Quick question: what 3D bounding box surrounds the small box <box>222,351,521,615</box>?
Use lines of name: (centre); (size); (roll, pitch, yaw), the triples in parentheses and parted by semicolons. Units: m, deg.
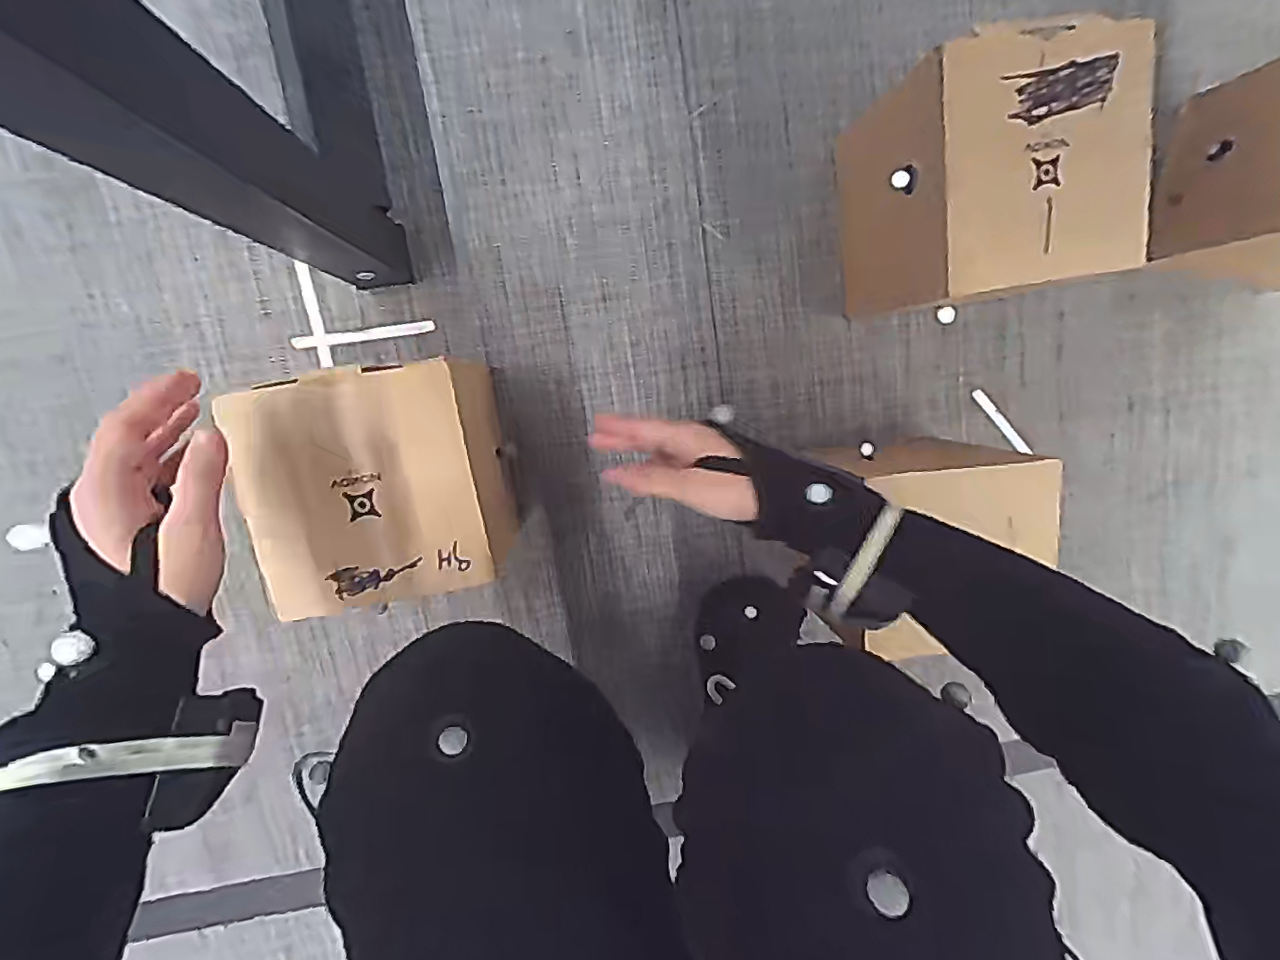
small box: (-0.208, -0.007, 0.474); (0.168, 0.176, 0.179); (-10, 99, -4)

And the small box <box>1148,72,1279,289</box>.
small box: (0.650, -0.287, 0.509); (0.179, 0.176, 0.168); (8, 99, -6)

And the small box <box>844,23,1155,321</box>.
small box: (0.297, -0.250, 0.481); (0.168, 0.176, 0.179); (-9, 101, -3)
